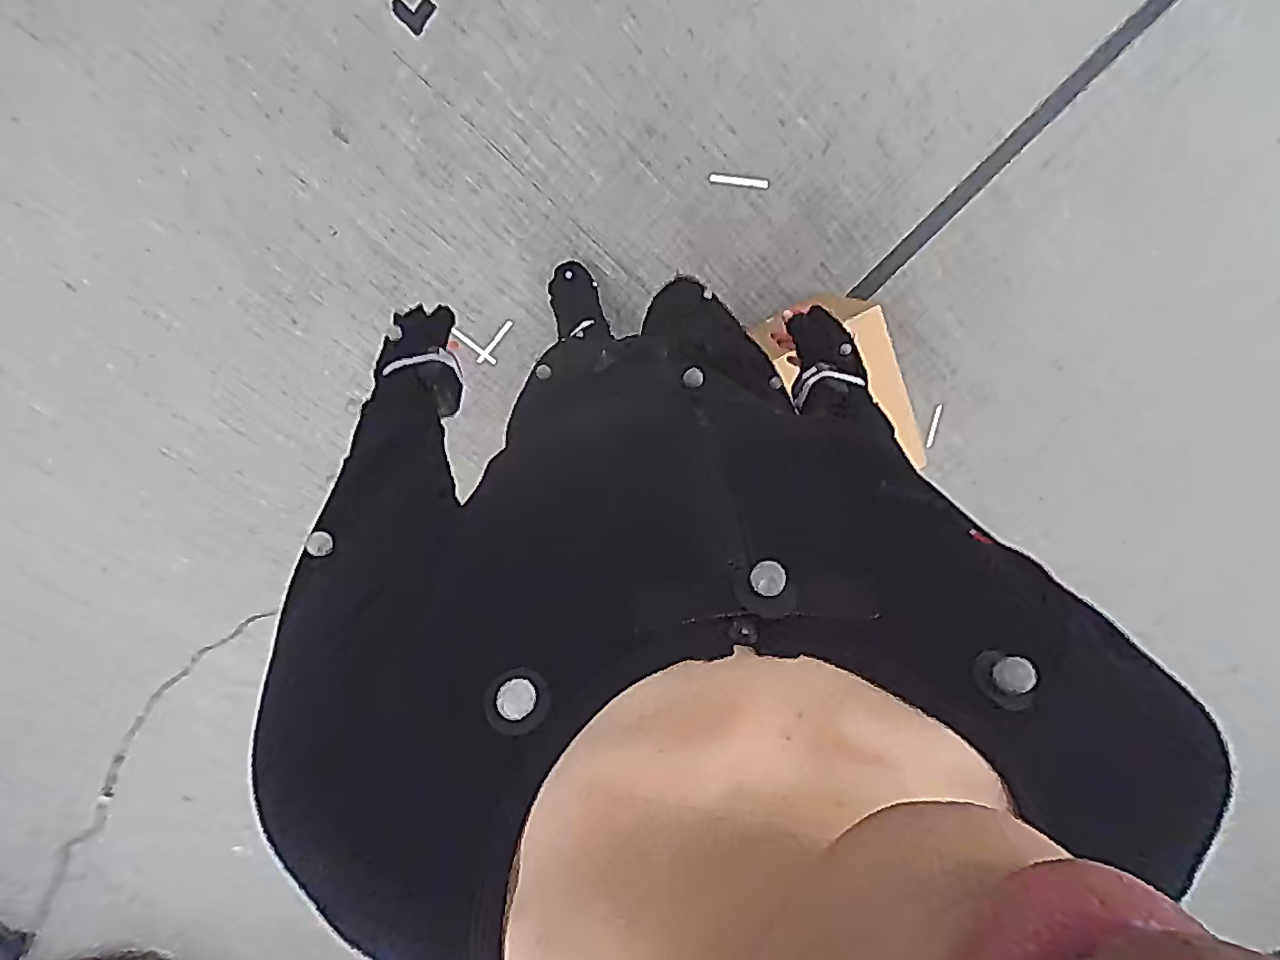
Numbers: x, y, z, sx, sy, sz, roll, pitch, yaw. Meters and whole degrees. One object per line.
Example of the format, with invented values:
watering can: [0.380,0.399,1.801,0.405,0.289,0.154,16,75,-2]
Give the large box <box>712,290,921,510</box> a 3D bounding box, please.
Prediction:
large box: [0.420,-0.207,1.340,0.320,0.320,0.408,-27,112,6]
